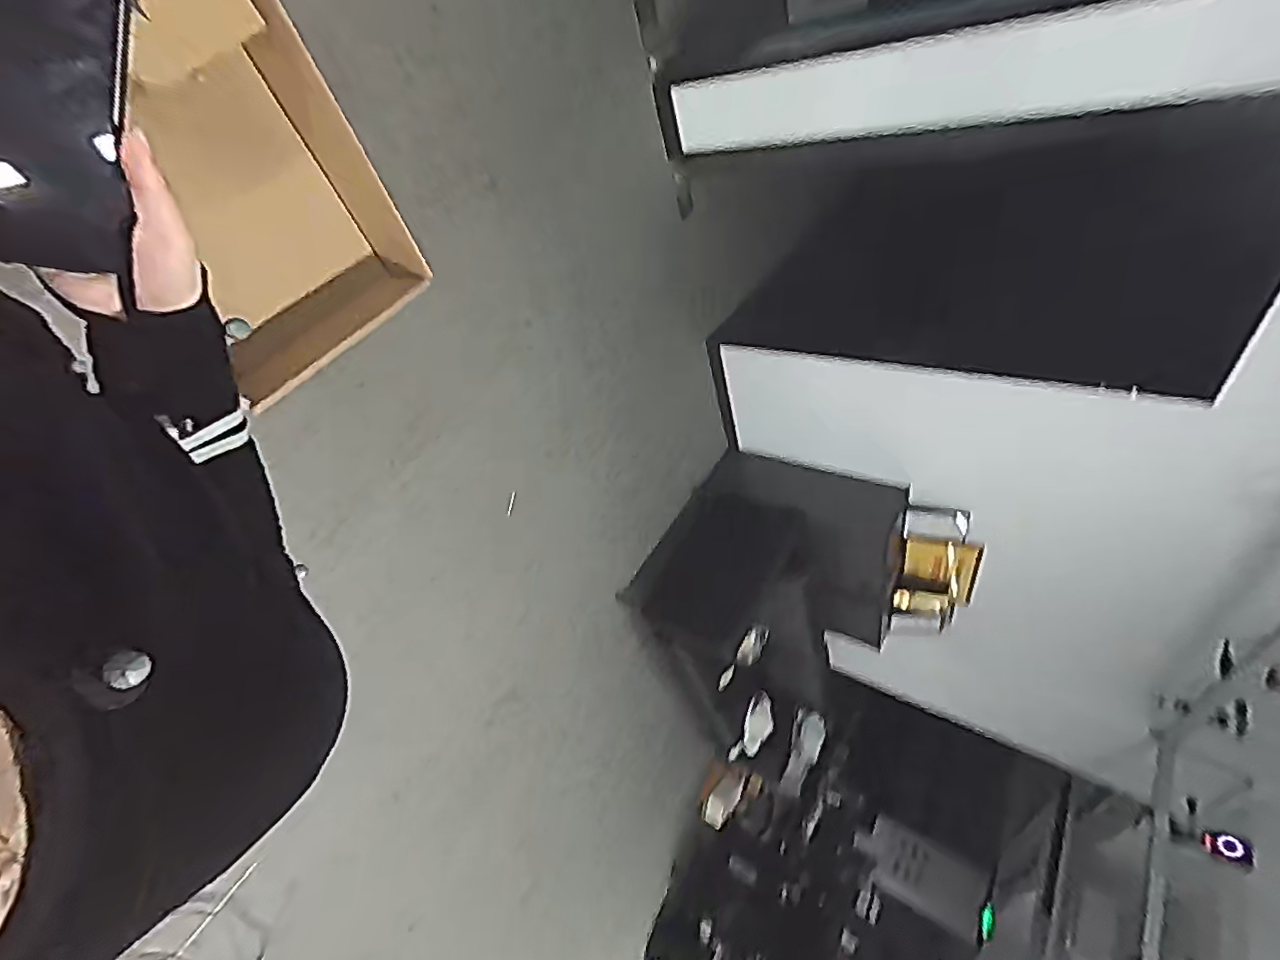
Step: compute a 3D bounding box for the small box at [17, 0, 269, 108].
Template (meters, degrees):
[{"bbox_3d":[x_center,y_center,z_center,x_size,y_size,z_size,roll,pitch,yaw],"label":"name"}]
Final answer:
[{"bbox_3d":[-0.596,-0.570,0.631,0.179,0.176,0.168,-58,144,-23],"label":"small box"}]
